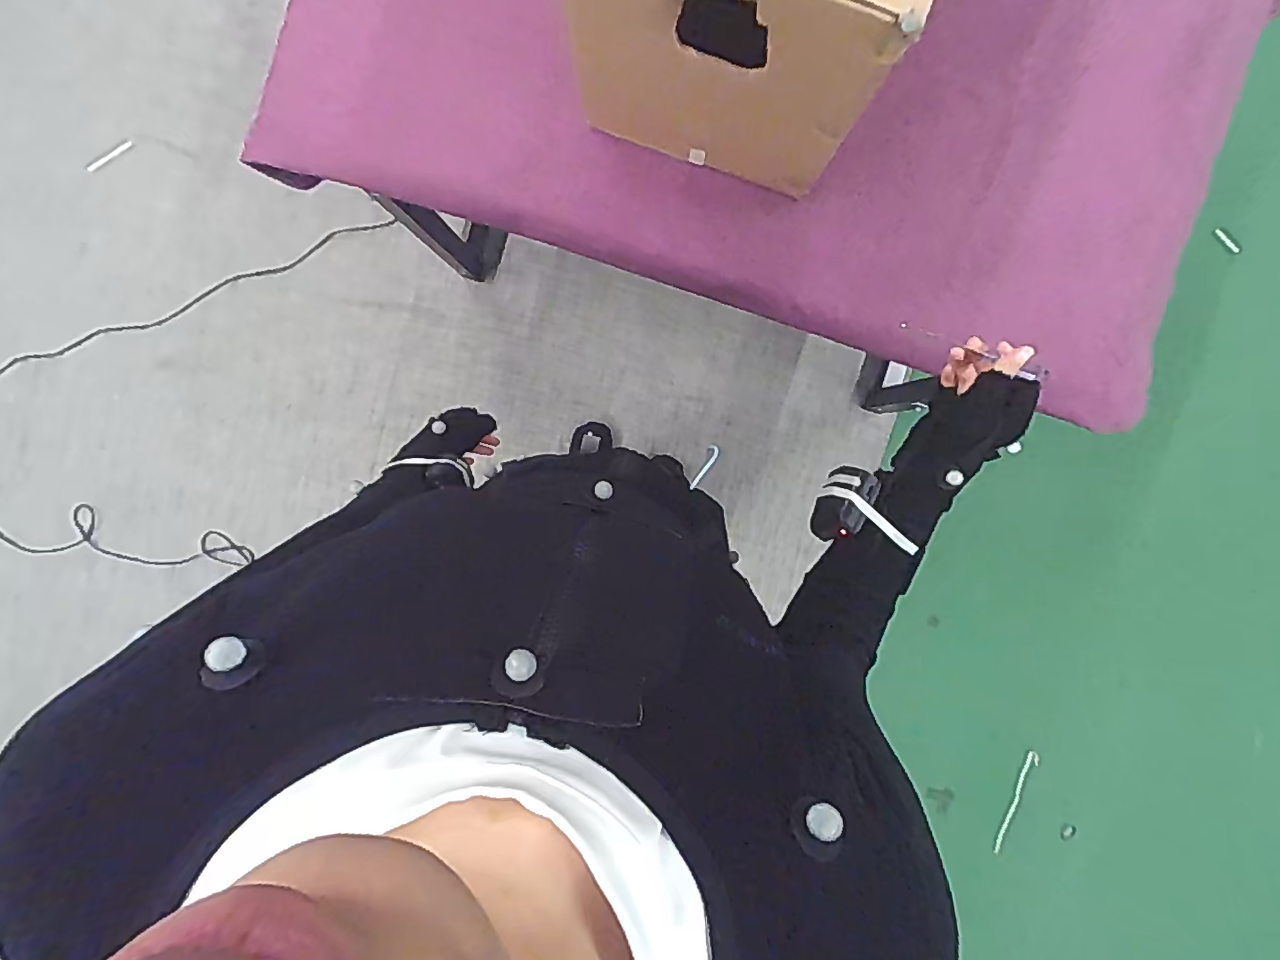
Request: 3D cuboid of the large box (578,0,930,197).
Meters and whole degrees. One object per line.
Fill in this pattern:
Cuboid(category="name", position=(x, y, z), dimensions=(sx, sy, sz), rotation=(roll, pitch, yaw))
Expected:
Cuboid(category="large box", position=(0.142, -0.605, 0.572), dimensions=(0.320, 0.320, 0.408), rotation=(19, 95, -1))
